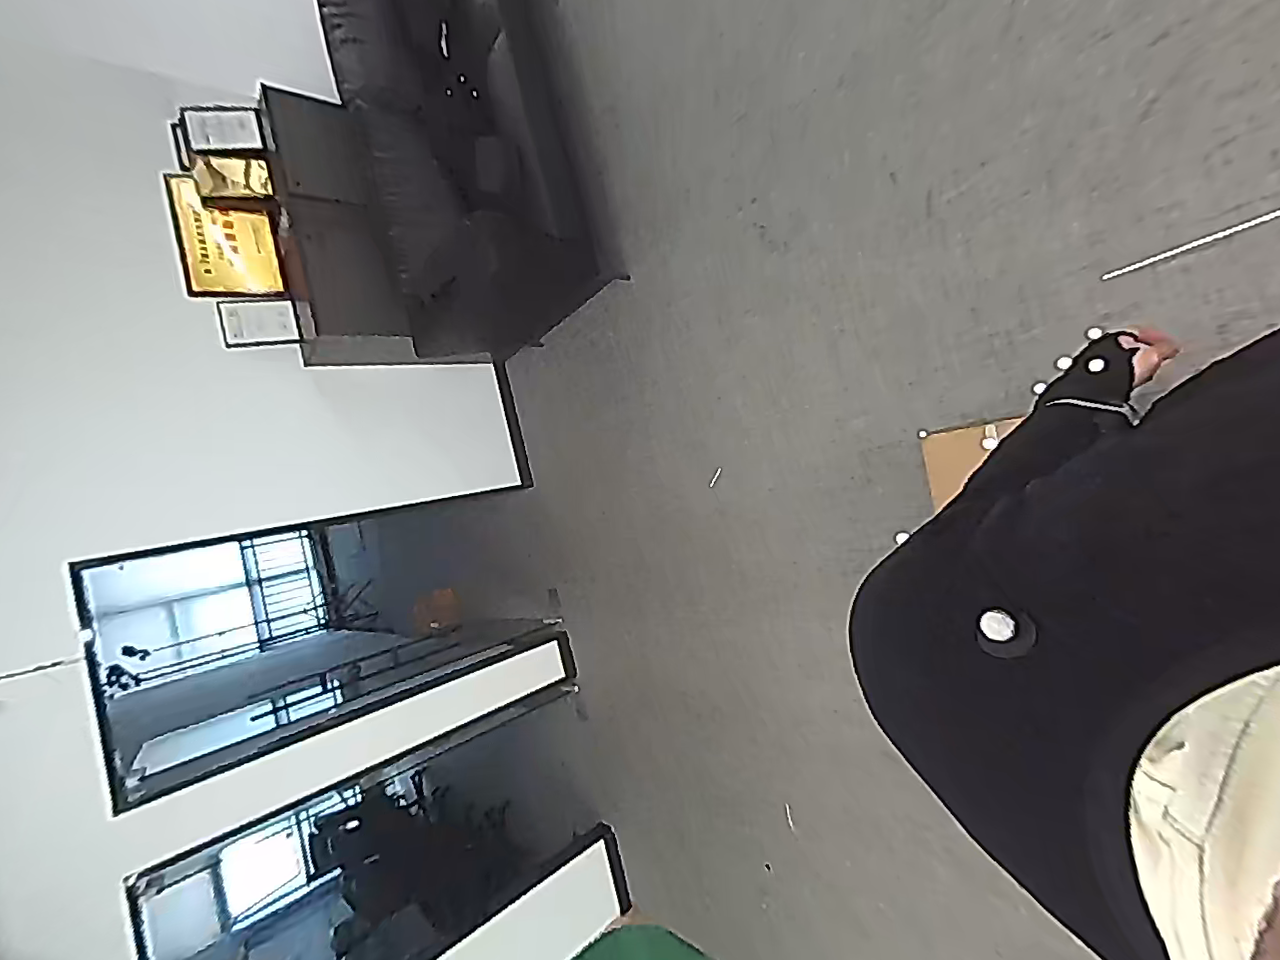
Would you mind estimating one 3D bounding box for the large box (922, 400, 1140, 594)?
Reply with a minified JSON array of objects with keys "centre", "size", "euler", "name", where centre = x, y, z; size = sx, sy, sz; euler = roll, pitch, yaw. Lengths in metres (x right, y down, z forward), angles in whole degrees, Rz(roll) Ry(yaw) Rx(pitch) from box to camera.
[{"centre":[0.945,0.041,1.311],"size":[0.320,0.320,0.408],"euler":[-12,89,50],"name":"large box"}]
